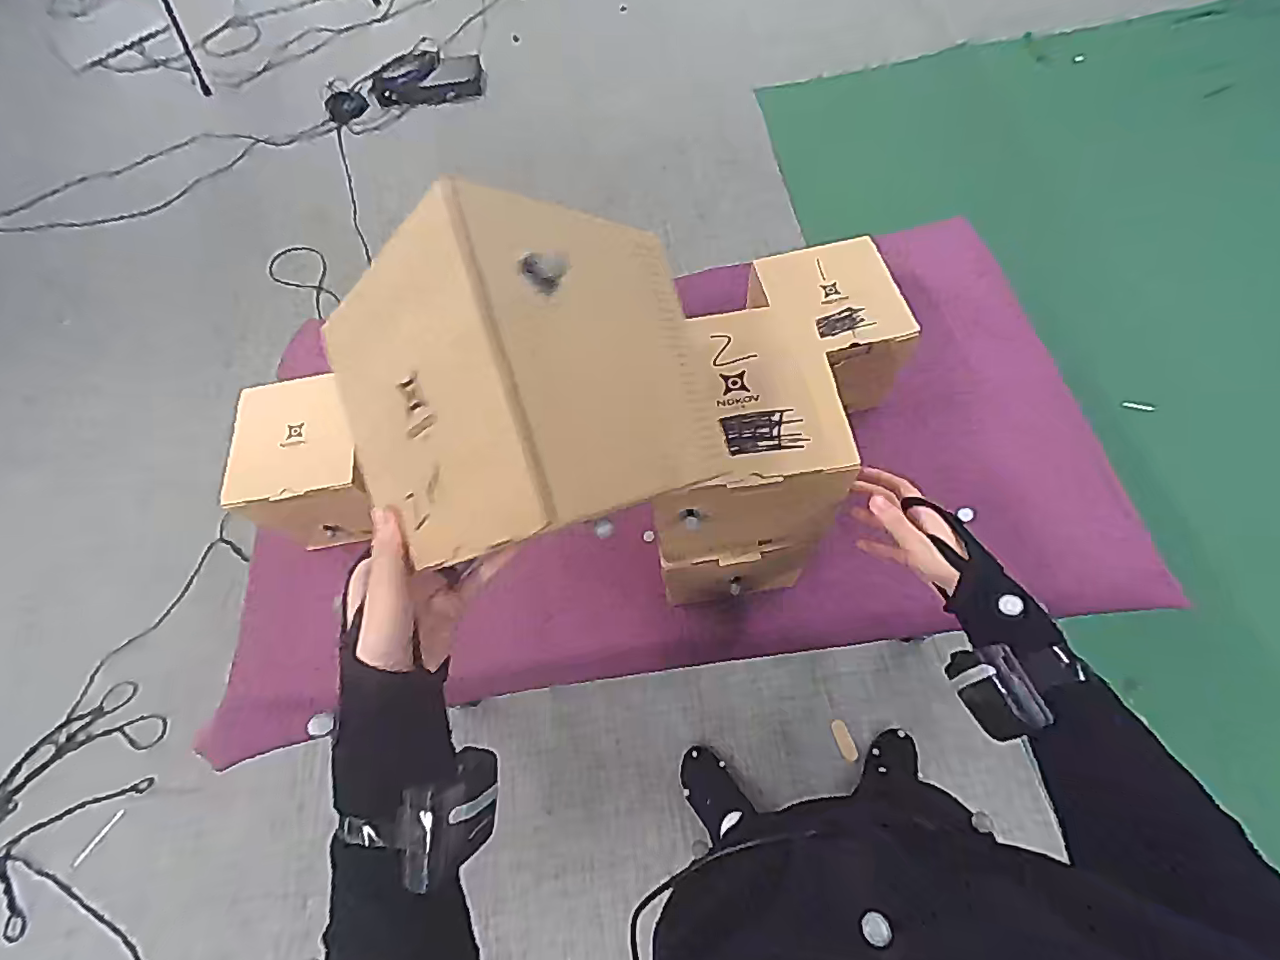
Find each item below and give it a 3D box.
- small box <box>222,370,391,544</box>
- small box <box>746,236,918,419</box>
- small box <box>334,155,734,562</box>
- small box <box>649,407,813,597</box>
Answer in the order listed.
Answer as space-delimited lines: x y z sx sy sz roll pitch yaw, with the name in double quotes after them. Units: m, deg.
-0.426 -0.027 0.754 0.168 0.176 0.179 -10 65 1 "small box"
0.254 -0.202 0.763 0.168 0.176 0.179 -11 64 1 "small box"
-0.064 -0.061 0.358 0.168 0.176 0.179 -20 86 39 "small box"
0.098 0.038 0.667 0.168 0.176 0.179 -9 64 1 "small box"
